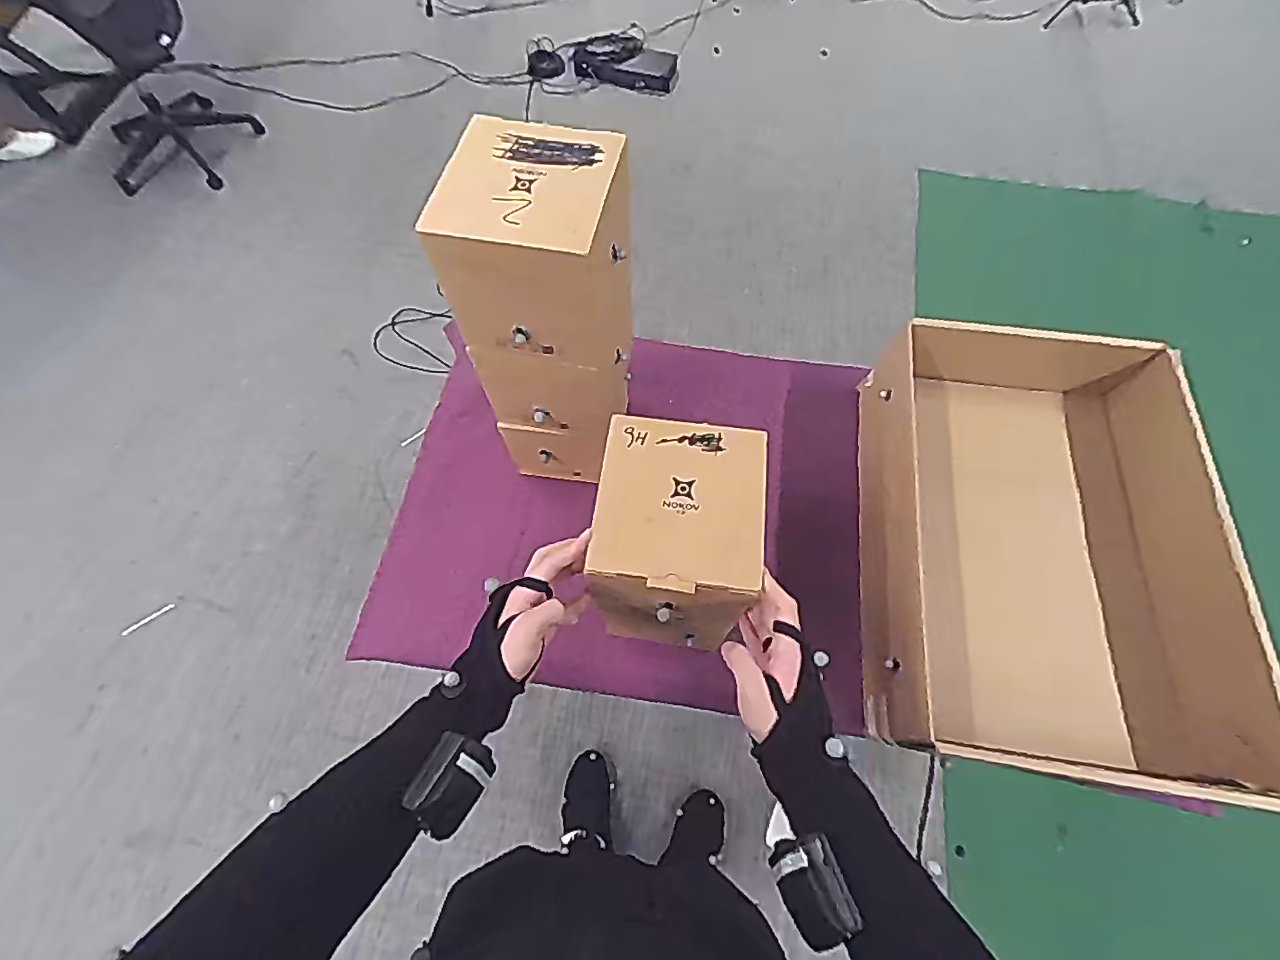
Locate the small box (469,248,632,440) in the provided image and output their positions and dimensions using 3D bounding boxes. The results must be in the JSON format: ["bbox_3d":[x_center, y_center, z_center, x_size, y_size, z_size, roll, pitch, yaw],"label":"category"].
[{"bbox_3d":[-0.109,-0.181,0.745,0.168,0.176,0.179,11,65,5],"label":"small box"}]

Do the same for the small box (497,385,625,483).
[{"bbox_3d":[-0.117,-0.108,0.892,0.168,0.176,0.179,7,64,3],"label":"small box"}]

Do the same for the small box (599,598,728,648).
[{"bbox_3d":[0.043,0.131,0.775,0.168,0.176,0.179,9,63,3],"label":"small box"}]

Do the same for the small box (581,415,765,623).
[{"bbox_3d":[0.038,0.052,0.604,0.168,0.176,0.179,7,65,3],"label":"small box"}]
